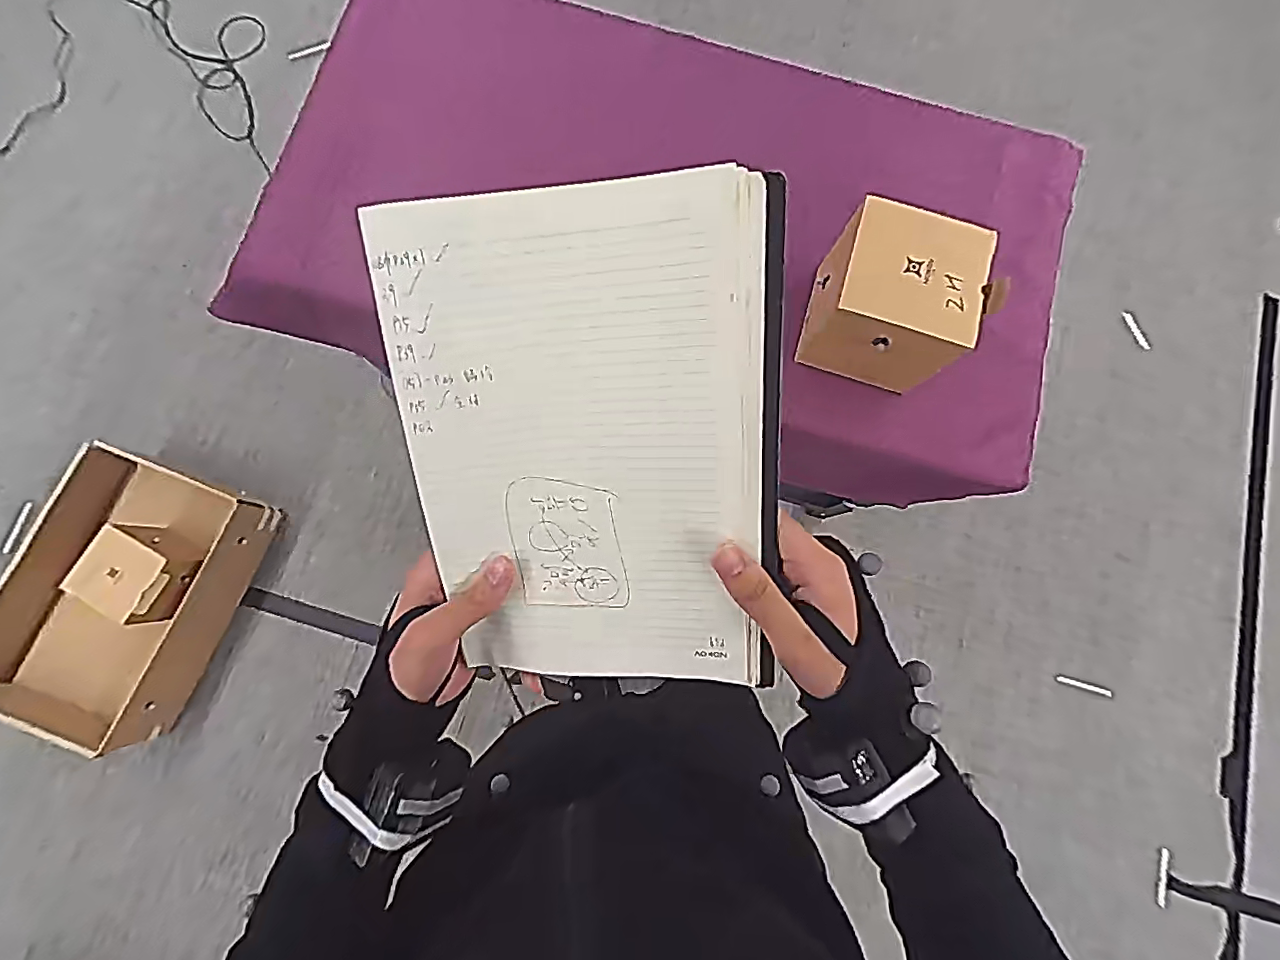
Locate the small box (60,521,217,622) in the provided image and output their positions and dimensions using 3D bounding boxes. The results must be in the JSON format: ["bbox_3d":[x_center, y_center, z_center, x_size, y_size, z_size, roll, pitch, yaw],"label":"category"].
[{"bbox_3d":[-1.172,0.213,1.282,0.179,0.176,0.168,30,81,2],"label":"small box"}]

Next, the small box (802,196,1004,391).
[{"bbox_3d":[0.342,-0.239,0.737,0.179,0.176,0.168,18,80,1],"label":"small box"}]
